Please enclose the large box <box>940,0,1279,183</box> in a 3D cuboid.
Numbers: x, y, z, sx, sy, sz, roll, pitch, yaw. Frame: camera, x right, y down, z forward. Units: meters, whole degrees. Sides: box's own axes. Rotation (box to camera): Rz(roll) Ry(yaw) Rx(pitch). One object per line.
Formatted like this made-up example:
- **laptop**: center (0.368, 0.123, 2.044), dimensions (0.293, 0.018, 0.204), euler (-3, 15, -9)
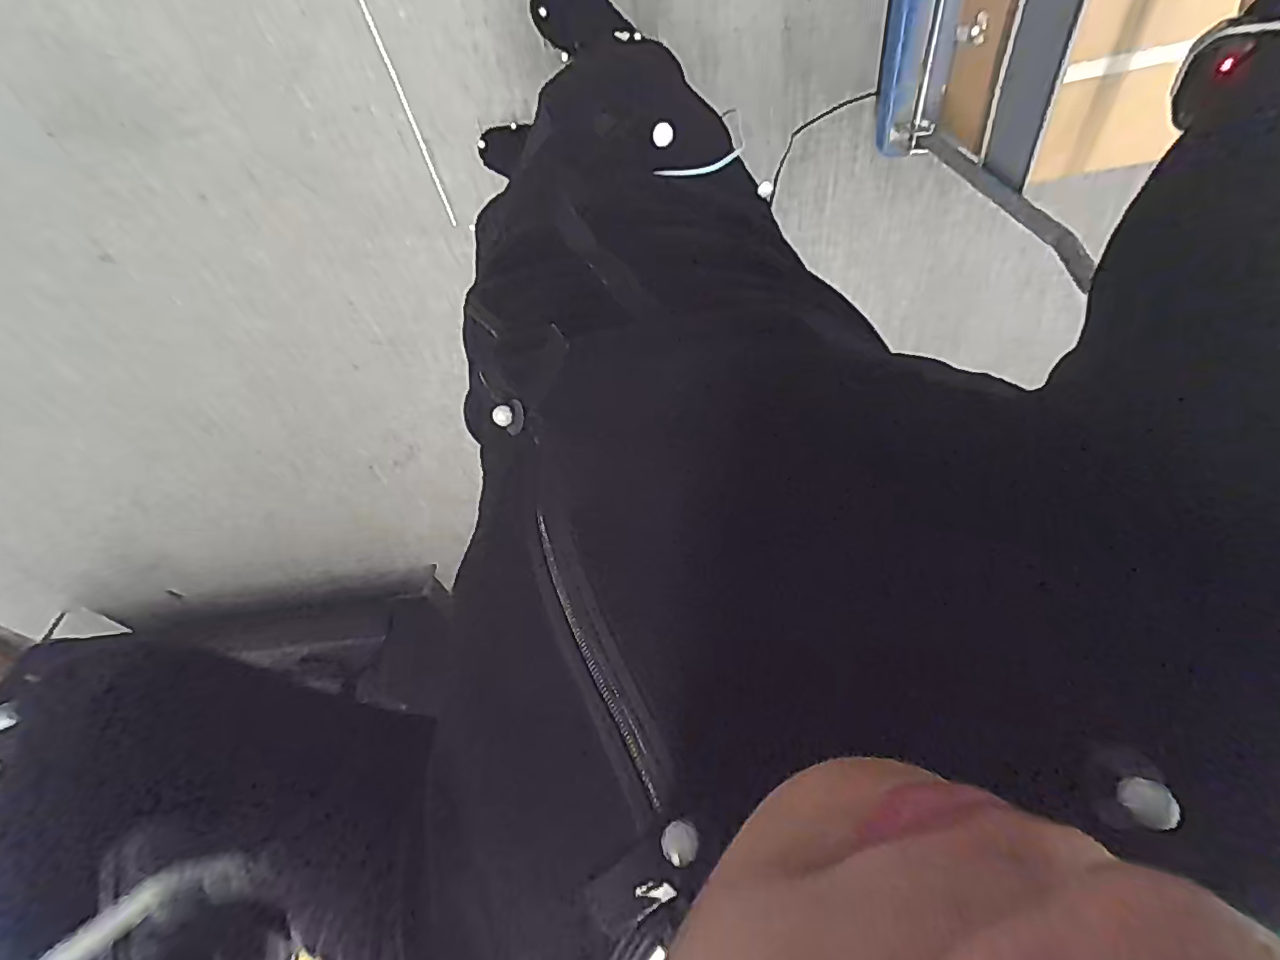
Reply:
- **large box**: center (0.776, -0.731, 0.868), dimensions (0.408, 0.320, 0.320), euler (-8, 138, 6)
